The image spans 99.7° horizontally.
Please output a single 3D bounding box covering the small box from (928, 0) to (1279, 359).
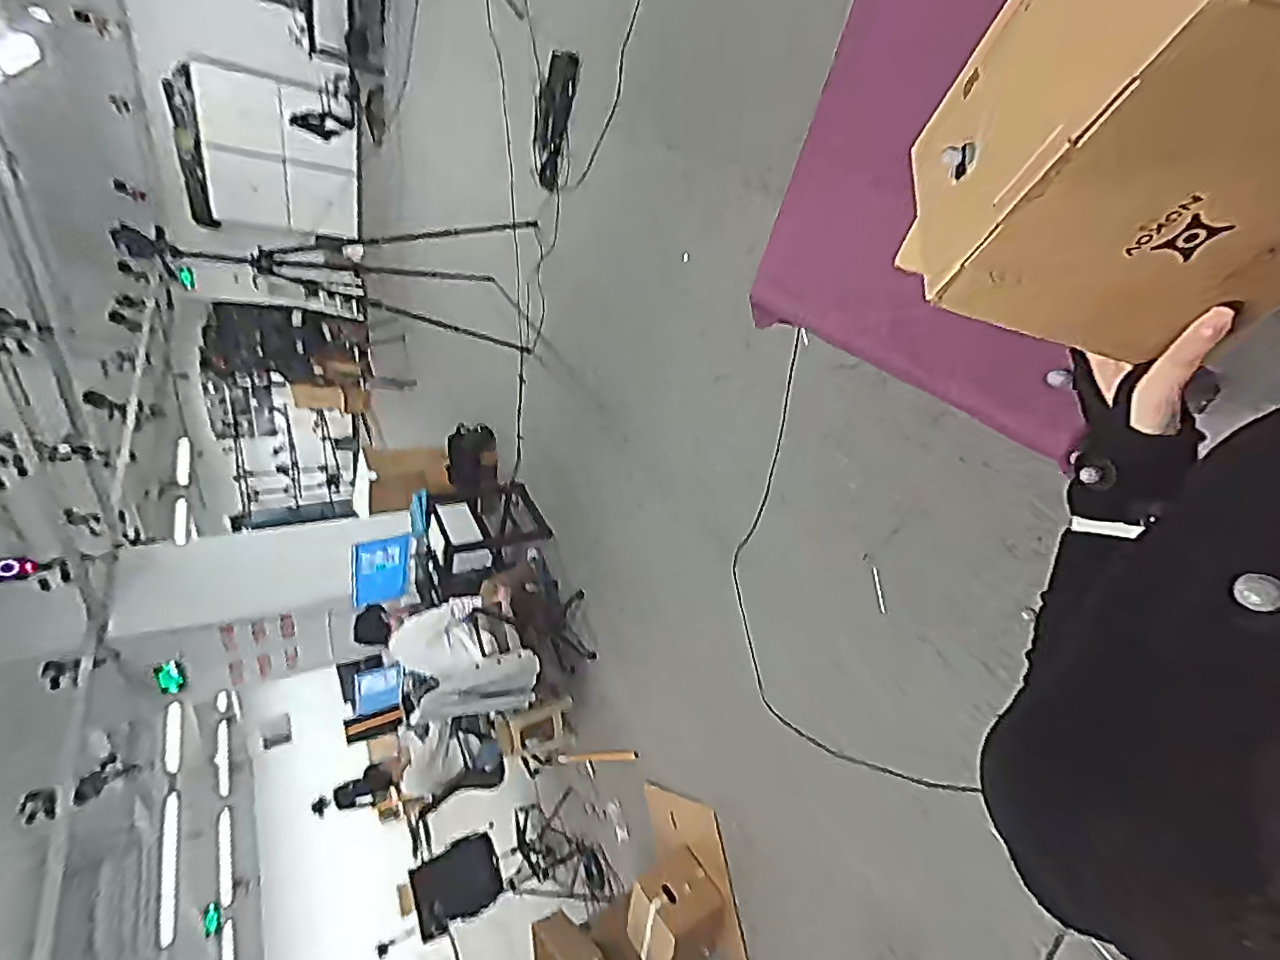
[{"bbox_3d":[0.297,-0.205,0.314,0.168,0.179,0.176,117,165,-63],"label":"small box"}]

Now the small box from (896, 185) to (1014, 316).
[{"bbox_3d":[0.442,-0.294,0.612,0.168,0.176,0.179,52,134,38],"label":"small box"}]
